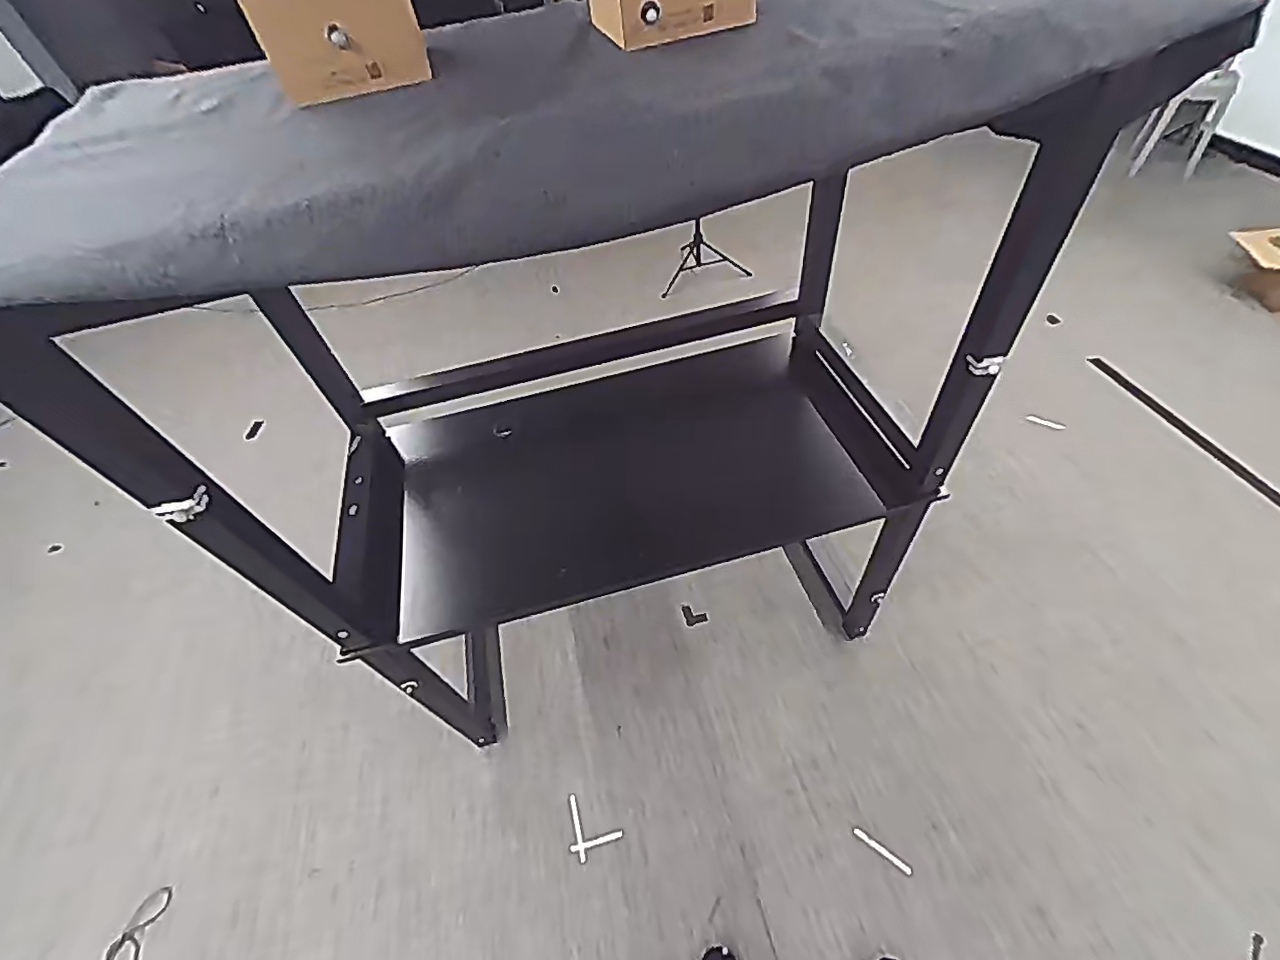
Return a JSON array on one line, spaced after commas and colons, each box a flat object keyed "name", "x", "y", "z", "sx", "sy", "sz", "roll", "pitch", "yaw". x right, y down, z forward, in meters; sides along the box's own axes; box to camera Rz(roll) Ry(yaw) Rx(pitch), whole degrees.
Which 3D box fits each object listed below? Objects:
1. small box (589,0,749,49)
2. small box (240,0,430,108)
[{"name": "small box", "x": 0.026, "y": -0.634, "z": 0.633, "sx": 0.168, "sy": 0.176, "sz": 0.179, "roll": -17, "pitch": 50, "yaw": -6}, {"name": "small box", "x": -0.360, "y": -0.563, "z": 0.630, "sx": 0.168, "sy": 0.176, "sz": 0.179, "roll": -17, "pitch": 51, "yaw": -6}]
